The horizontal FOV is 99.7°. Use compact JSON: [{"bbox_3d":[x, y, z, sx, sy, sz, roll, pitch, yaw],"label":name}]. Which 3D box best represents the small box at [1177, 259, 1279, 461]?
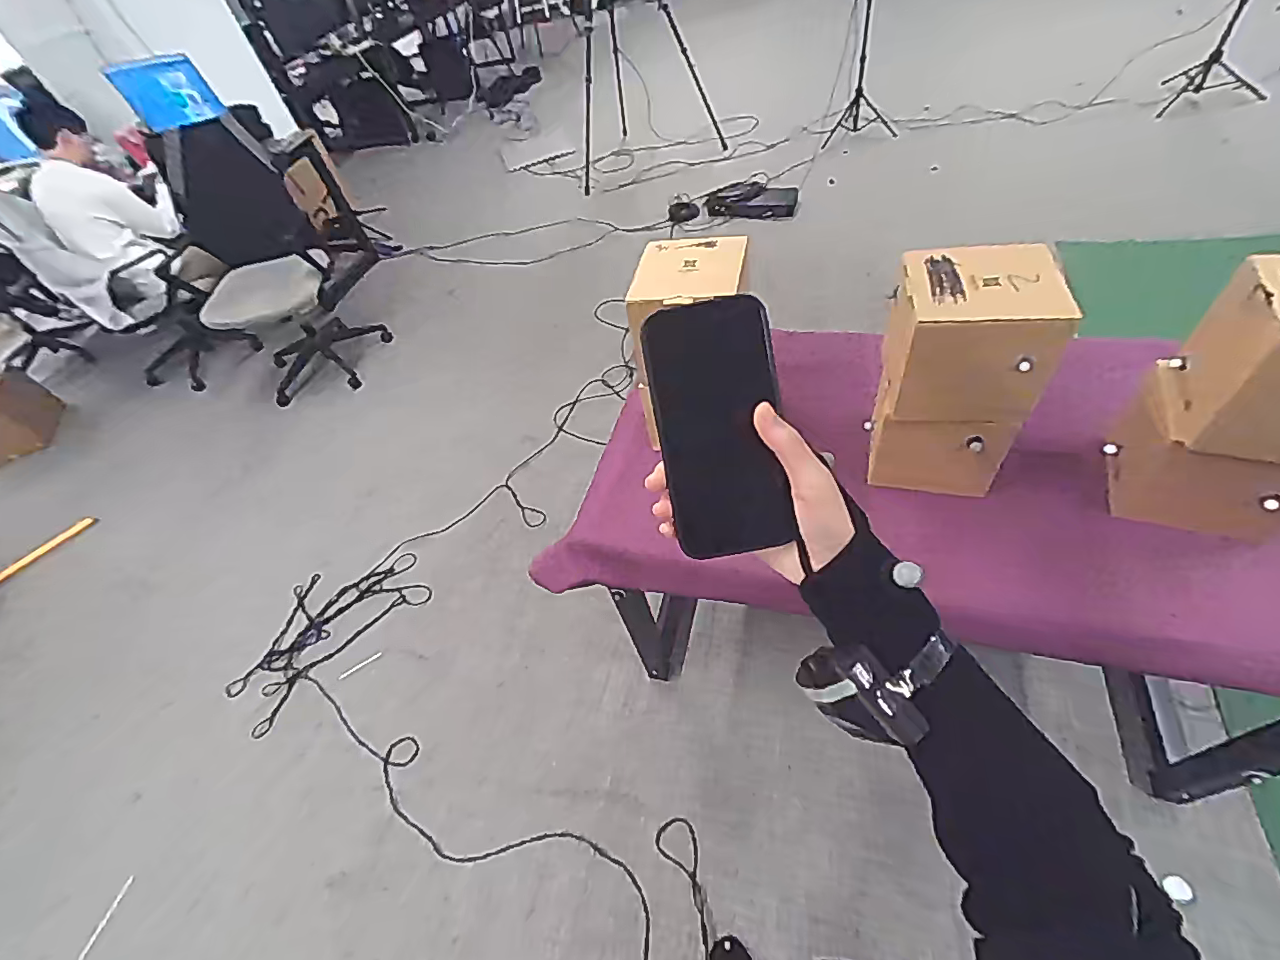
[{"bbox_3d":[0.763,-0.128,0.614,0.179,0.176,0.168,13,54,22],"label":"small box"}]

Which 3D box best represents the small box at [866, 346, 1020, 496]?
[{"bbox_3d":[0.473,-0.093,0.866,0.179,0.176,0.168,8,53,19],"label":"small box"}]

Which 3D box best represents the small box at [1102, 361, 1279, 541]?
[{"bbox_3d":[0.788,-0.037,0.749,0.179,0.176,0.168,13,54,23],"label":"small box"}]

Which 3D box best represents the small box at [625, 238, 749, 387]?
[{"bbox_3d":[0.088,-0.269,0.886,0.168,0.176,0.179,4,52,16],"label":"small box"}]

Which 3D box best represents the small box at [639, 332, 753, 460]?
[{"bbox_3d":[0.114,-0.158,1.005,0.168,0.176,0.179,8,53,19],"label":"small box"}]
